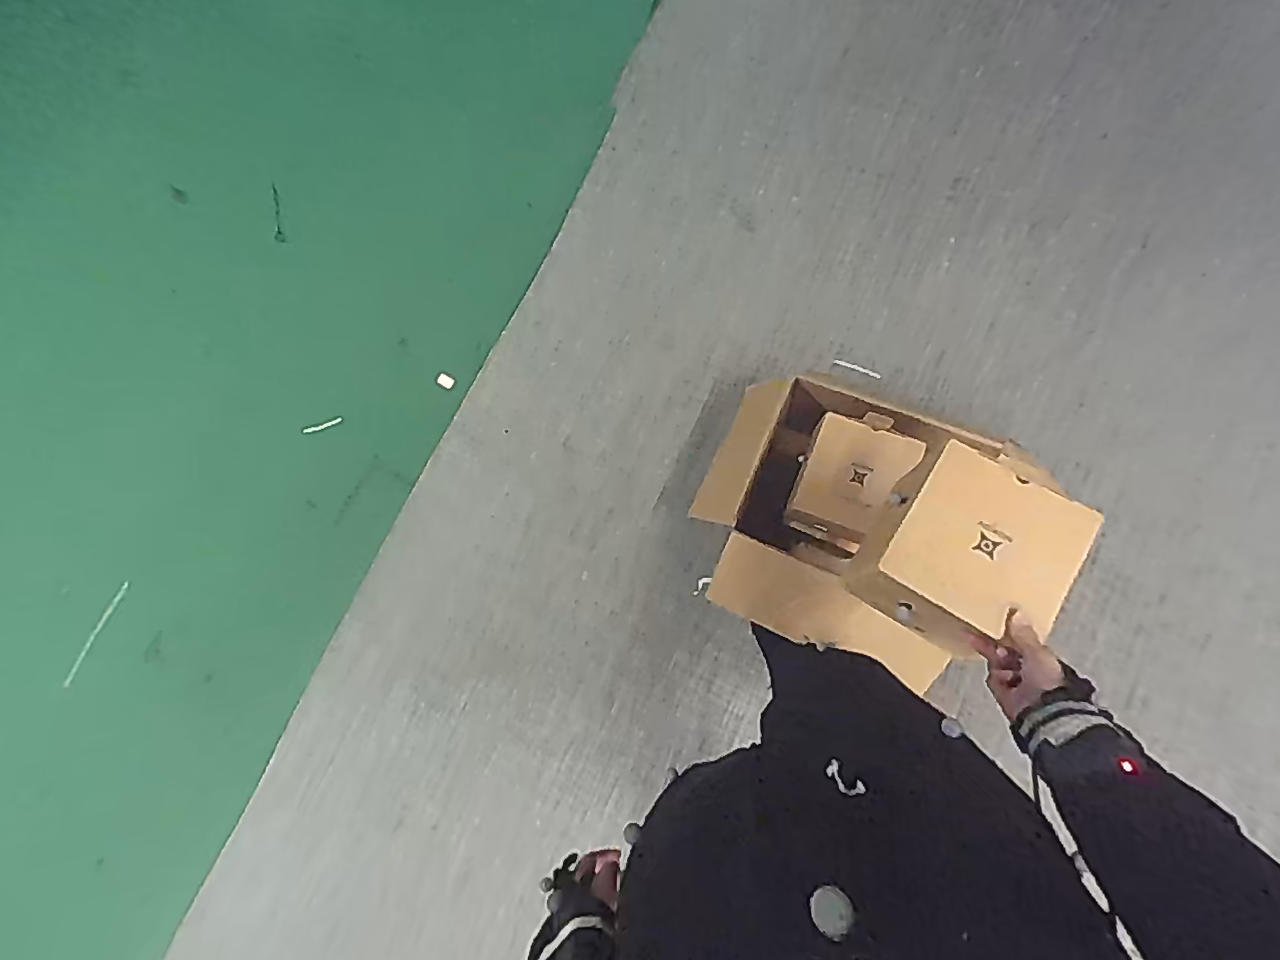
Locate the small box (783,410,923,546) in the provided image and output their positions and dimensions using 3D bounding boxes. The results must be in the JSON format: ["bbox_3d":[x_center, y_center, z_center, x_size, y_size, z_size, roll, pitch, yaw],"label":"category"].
[{"bbox_3d":[0.360,0.005,0.948,0.168,0.176,0.179,21,84,12],"label":"small box"}]

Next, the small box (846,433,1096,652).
[{"bbox_3d":[0.362,0.083,0.630,0.168,0.176,0.179,32,76,16],"label":"small box"}]
